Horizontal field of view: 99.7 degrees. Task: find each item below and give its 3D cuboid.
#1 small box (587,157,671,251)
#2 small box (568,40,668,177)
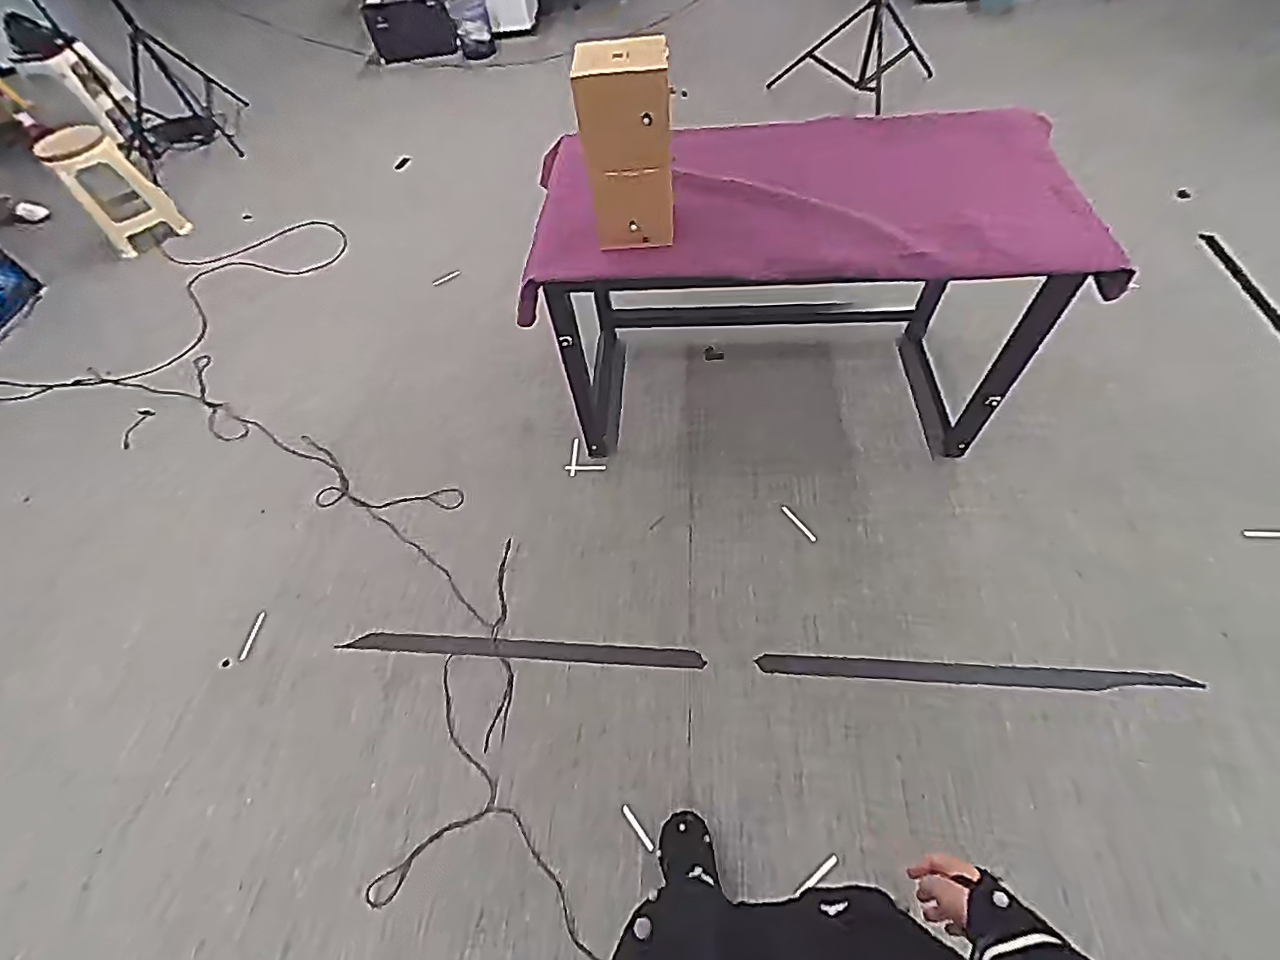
[{"bbox_3d":[-0.019,-0.633,1.194,0.168,0.176,0.179,-2,57,5],"label":"small box"},{"bbox_3d":[-0.034,-0.723,1.060,0.179,0.176,0.168,-4,55,5],"label":"small box"}]
